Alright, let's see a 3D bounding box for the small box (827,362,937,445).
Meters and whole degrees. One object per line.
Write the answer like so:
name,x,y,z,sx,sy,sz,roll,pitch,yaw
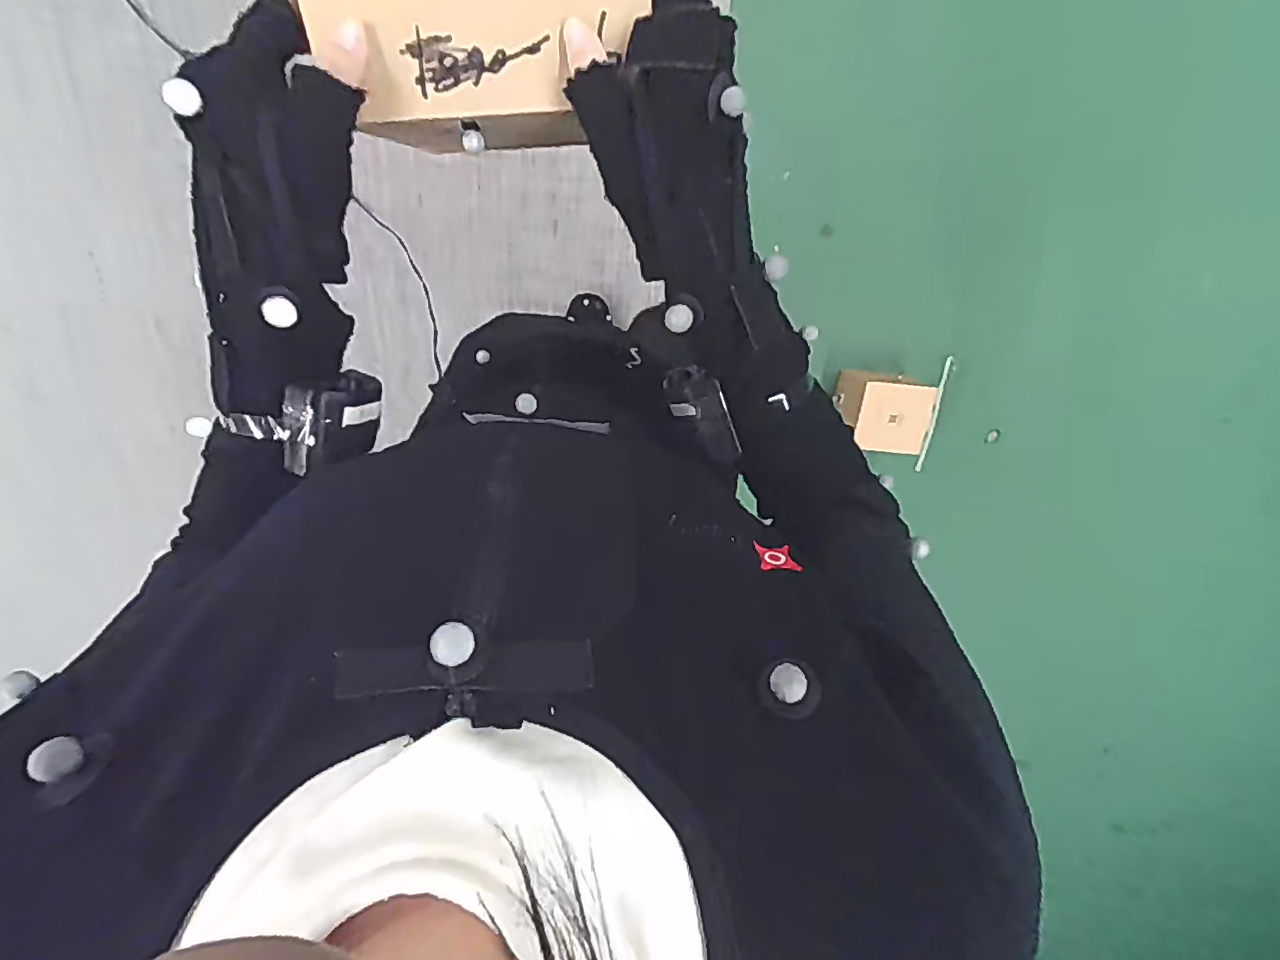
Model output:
small box,0.595,-0.195,1.351,0.179,0.176,0.168,5,111,-3
